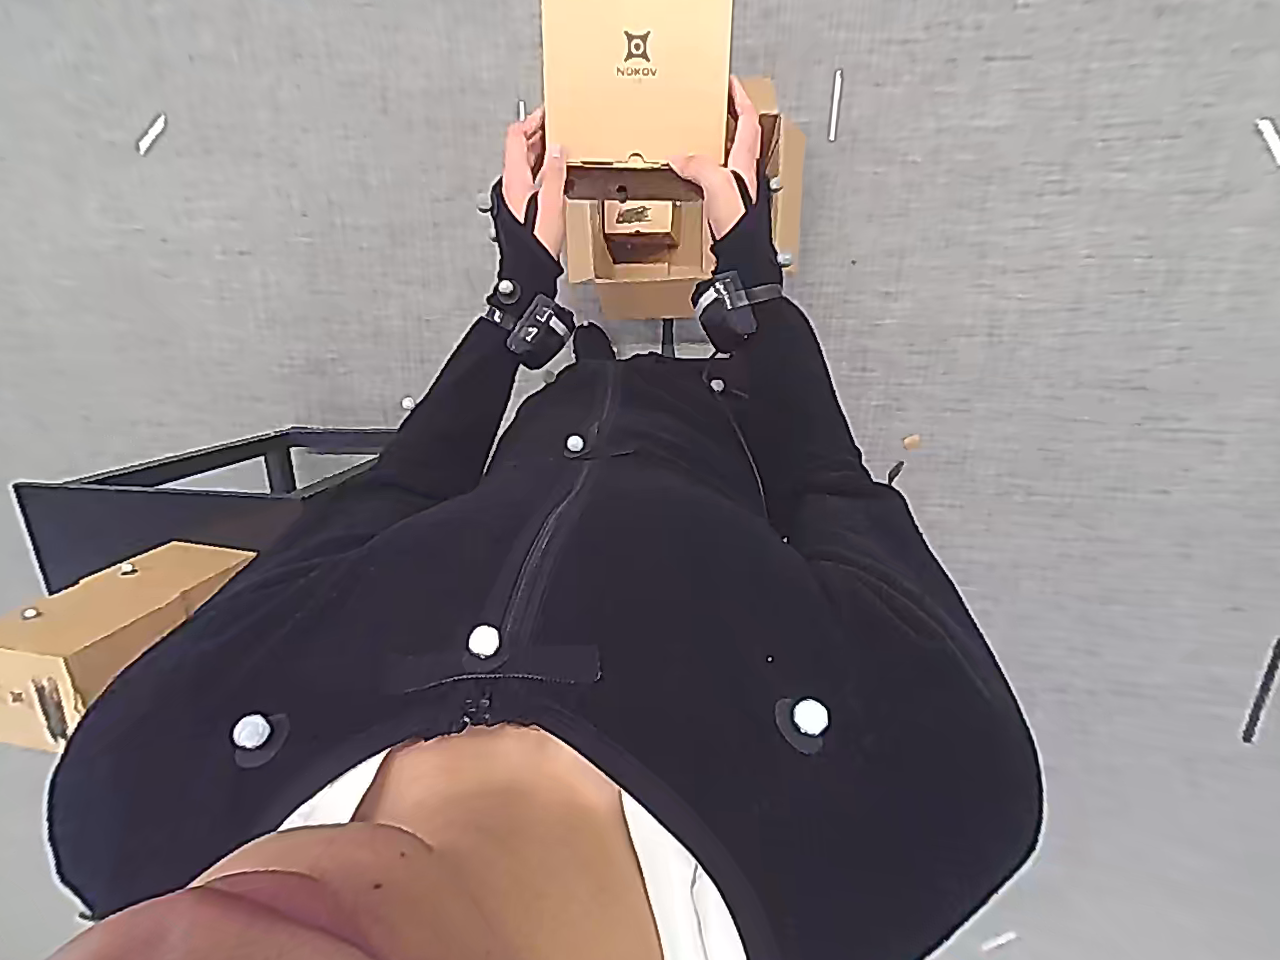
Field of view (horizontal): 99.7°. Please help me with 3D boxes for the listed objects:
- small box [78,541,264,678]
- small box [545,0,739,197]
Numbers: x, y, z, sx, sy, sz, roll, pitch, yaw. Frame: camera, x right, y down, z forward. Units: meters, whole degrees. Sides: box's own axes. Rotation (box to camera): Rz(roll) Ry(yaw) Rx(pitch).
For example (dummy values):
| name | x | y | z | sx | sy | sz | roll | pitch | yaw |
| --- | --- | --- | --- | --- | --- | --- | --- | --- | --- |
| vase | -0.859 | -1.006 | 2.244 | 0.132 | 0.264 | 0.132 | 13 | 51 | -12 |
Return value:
| name | x | y | z | sx | sy | sz | roll | pitch | yaw |
| --- | --- | --- | --- | --- | --- | --- | --- | --- | --- |
| small box | -0.820 | 0.220 | 0.962 | 0.179 | 0.176 | 0.168 | 7 | 108 | 5 |
| small box | -0.003 | -0.395 | 0.536 | 0.168 | 0.176 | 0.179 | 0 | 108 | -2 |
